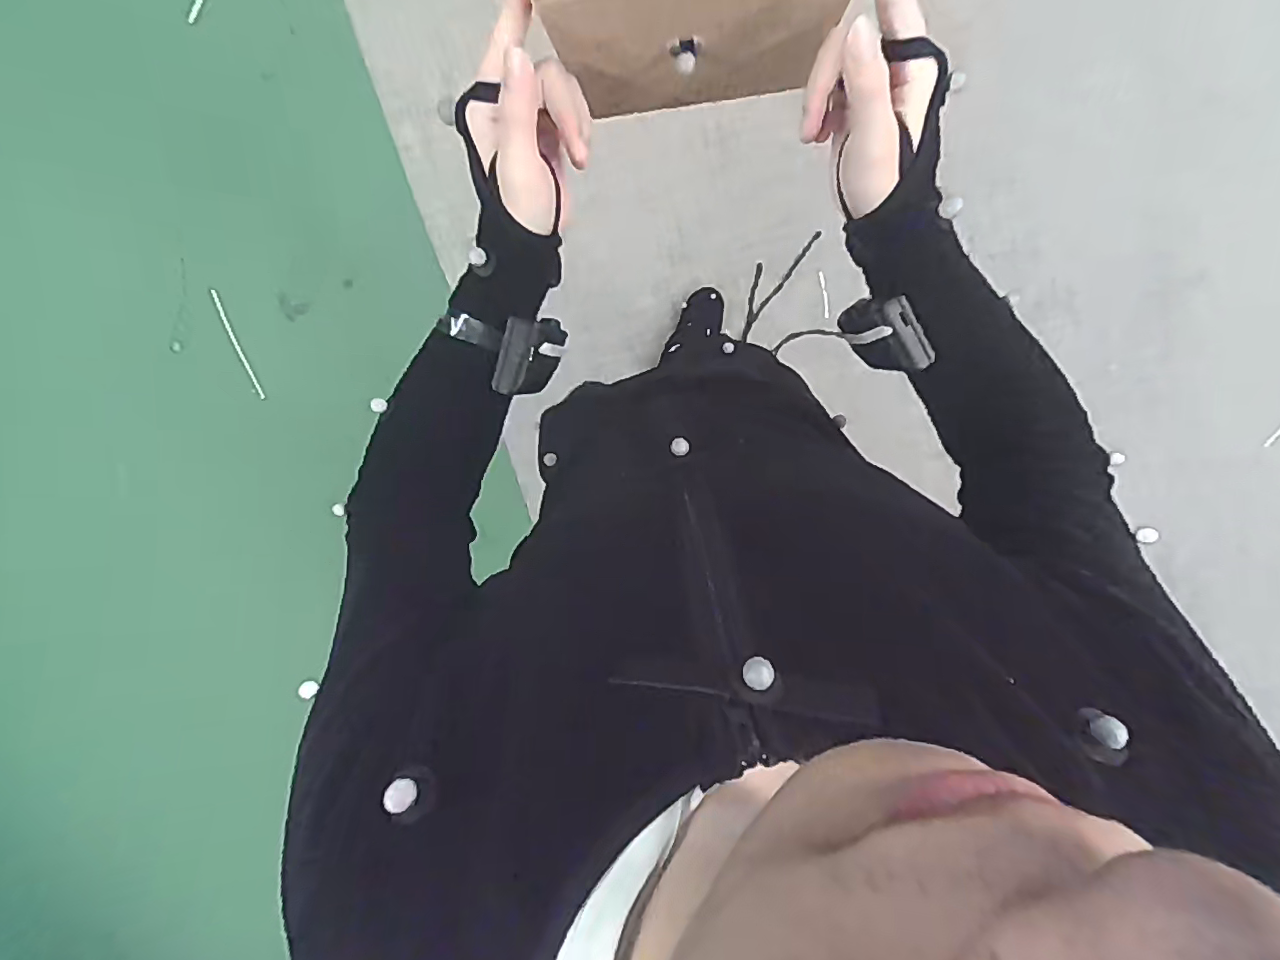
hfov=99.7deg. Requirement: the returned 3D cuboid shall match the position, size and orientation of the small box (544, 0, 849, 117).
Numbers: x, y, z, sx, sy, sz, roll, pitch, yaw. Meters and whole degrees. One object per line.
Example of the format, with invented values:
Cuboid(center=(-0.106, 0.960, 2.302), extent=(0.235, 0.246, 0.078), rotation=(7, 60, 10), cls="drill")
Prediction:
Cuboid(center=(0.034, -0.354, 0.330), extent=(0.179, 0.176, 0.168), rotation=(-4, 104, 7), cls="small box")
